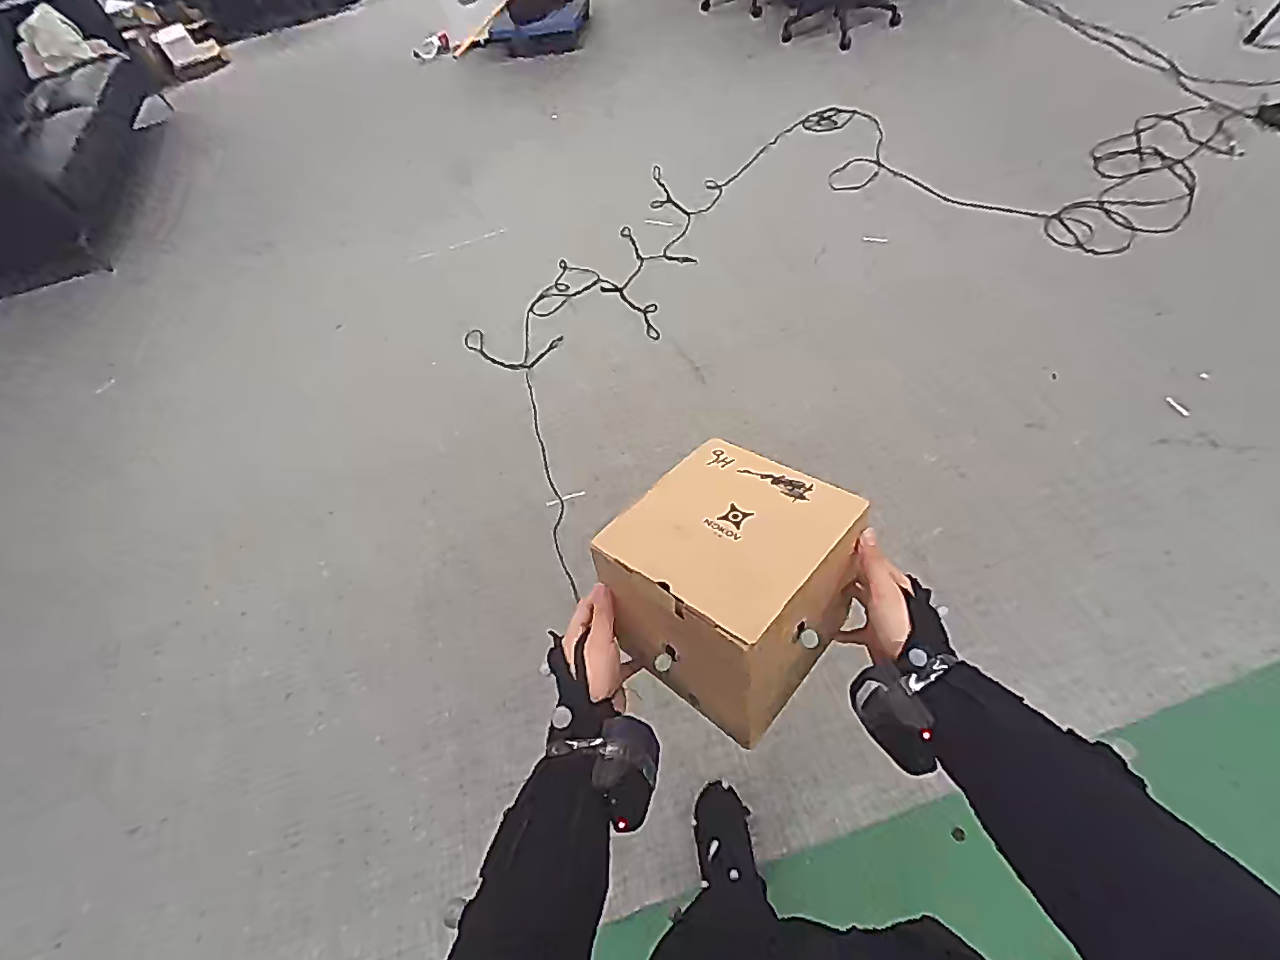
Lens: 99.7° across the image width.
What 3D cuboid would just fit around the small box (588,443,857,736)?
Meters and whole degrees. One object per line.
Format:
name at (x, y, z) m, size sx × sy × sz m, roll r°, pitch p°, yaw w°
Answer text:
small box at (0.082, 0.100, 0.512) m, size 0.168 × 0.176 × 0.179 m, roll 28°, pitch 54°, yaw 35°
